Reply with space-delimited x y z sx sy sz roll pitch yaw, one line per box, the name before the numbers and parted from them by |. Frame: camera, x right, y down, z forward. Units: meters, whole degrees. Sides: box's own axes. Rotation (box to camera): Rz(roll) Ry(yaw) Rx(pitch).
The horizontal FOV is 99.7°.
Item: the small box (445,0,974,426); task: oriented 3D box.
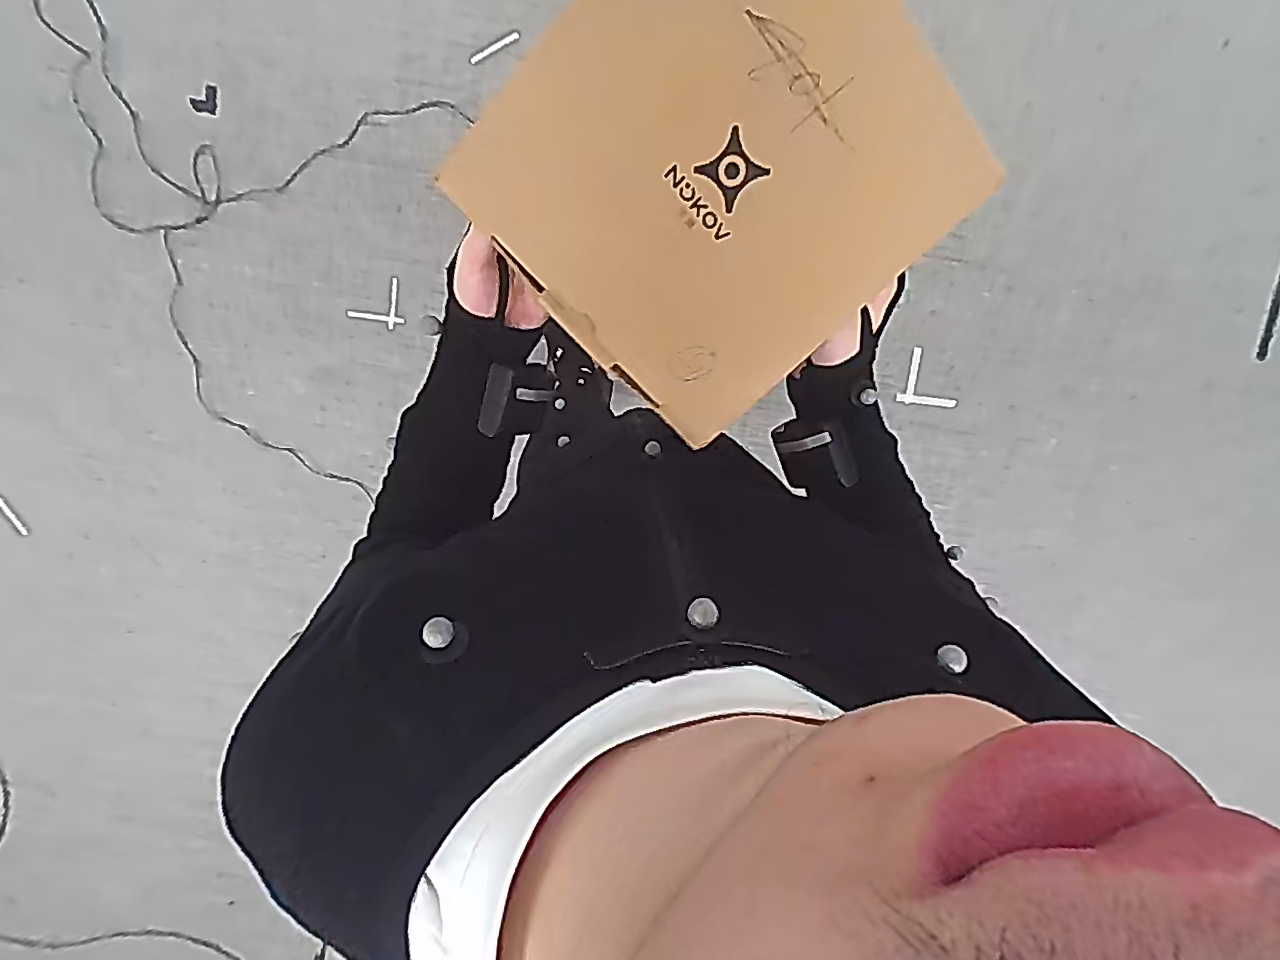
small box | 0.028 -0.164 0.308 0.179 0.176 0.168 -44 108 13
